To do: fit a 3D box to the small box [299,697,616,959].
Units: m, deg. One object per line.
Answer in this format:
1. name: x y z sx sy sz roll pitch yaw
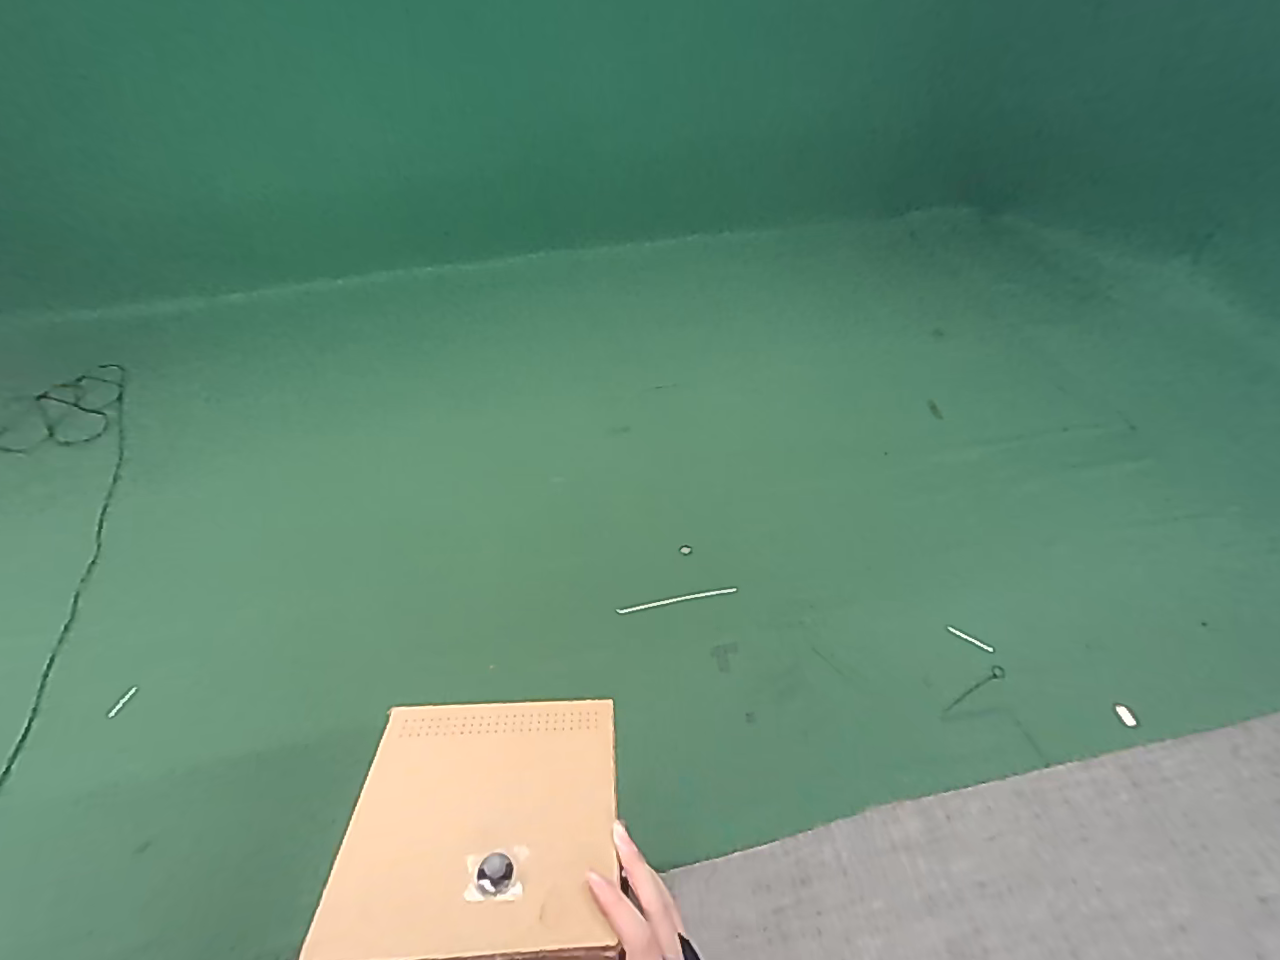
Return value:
1. small box: -0.110 0.285 0.410 0.179 0.168 0.176 1 29 -4
